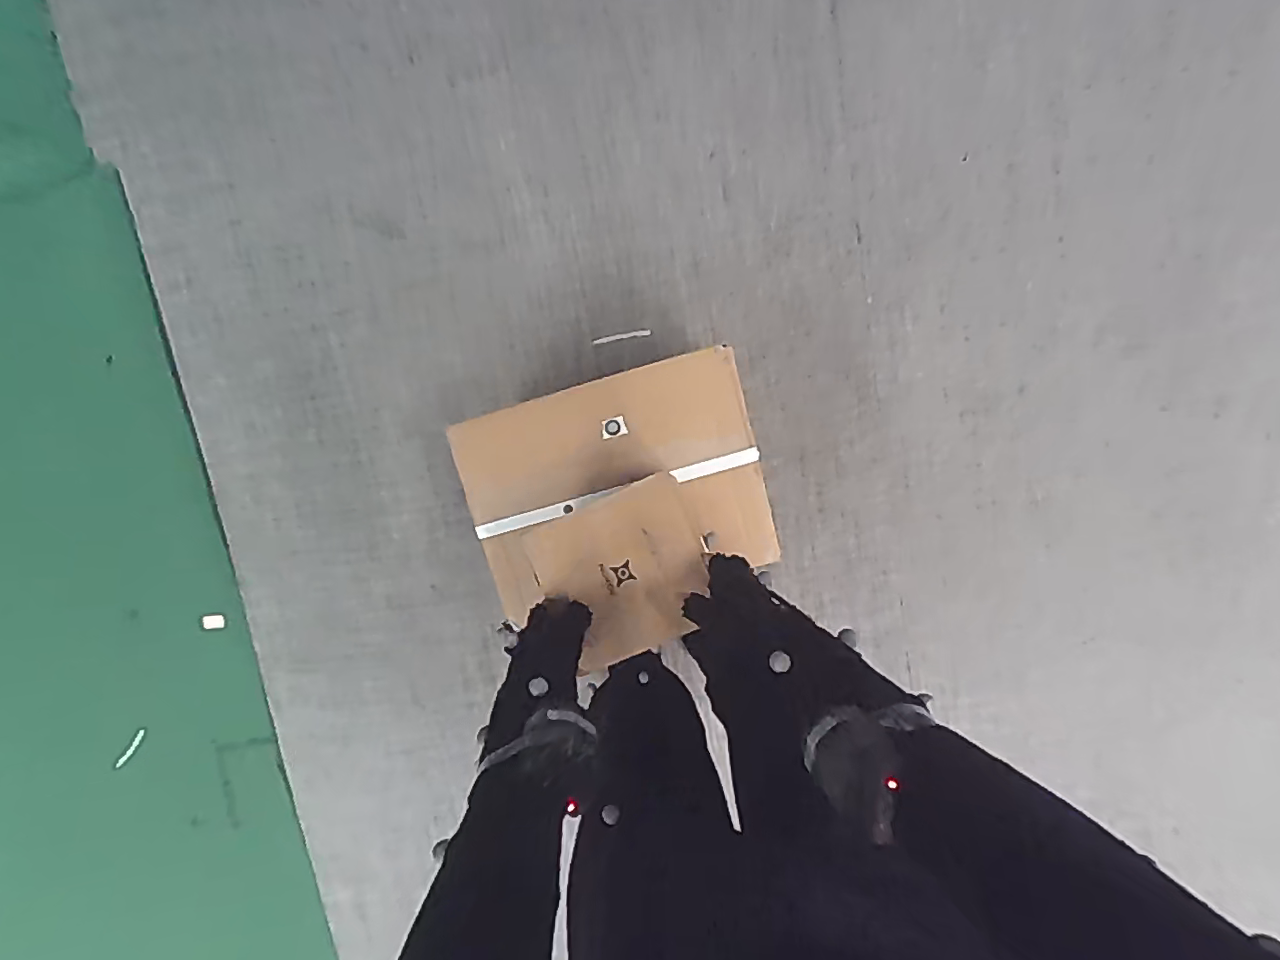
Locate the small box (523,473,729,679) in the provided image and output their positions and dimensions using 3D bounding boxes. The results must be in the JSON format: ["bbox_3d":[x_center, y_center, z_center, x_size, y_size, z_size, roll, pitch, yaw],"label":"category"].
[{"bbox_3d":[-0.006,0.105,0.640,0.179,0.176,0.168,-25,84,6],"label":"small box"}]
